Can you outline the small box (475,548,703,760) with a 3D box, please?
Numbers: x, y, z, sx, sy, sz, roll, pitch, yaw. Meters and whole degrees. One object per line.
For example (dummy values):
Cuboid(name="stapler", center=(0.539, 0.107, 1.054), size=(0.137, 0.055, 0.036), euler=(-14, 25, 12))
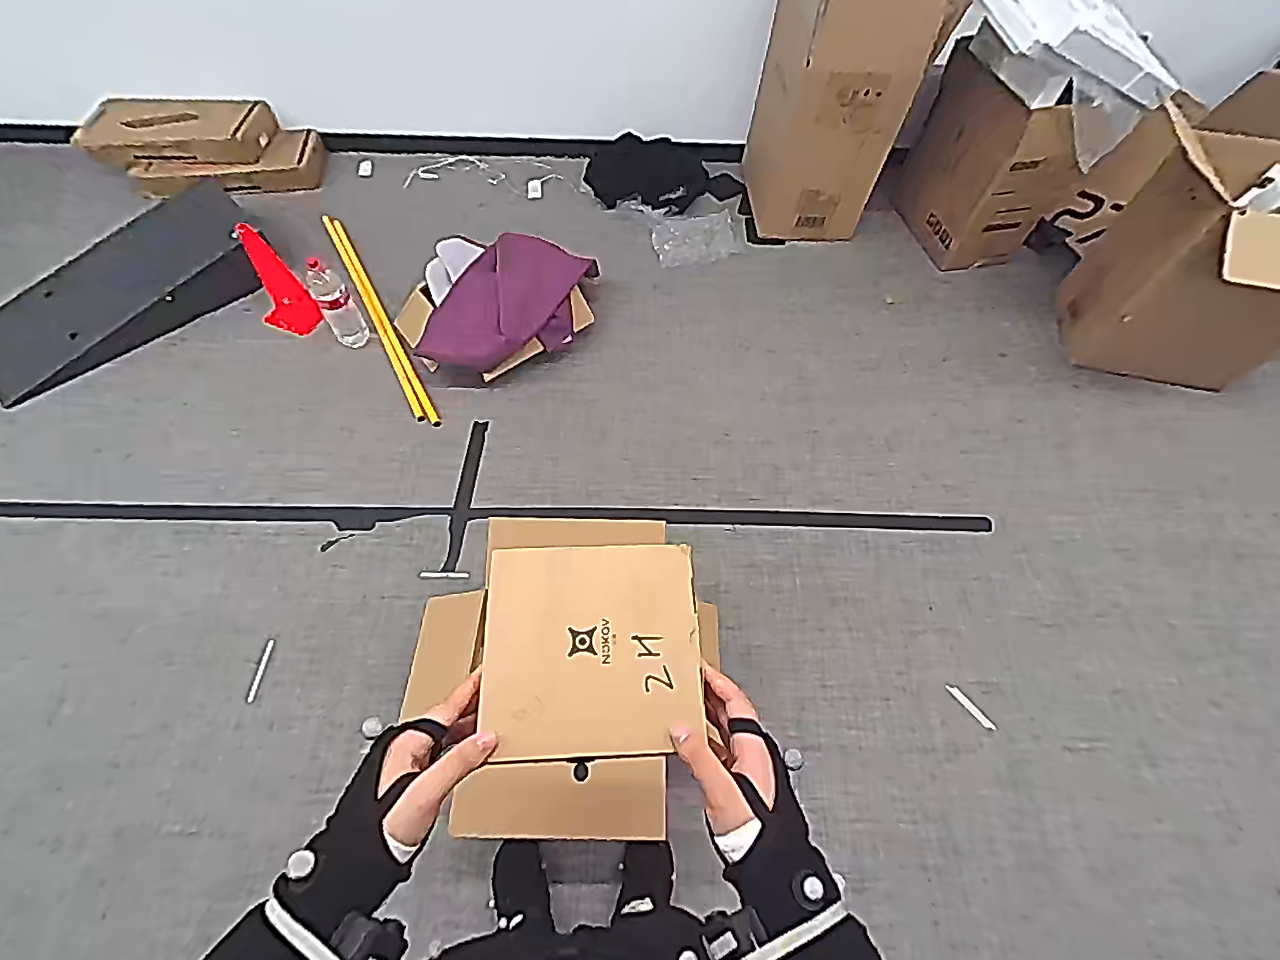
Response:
Cuboid(name="small box", center=(-0.045, 0.171, 0.515), size=(0.179, 0.176, 0.168), euler=(0, 63, -5))
